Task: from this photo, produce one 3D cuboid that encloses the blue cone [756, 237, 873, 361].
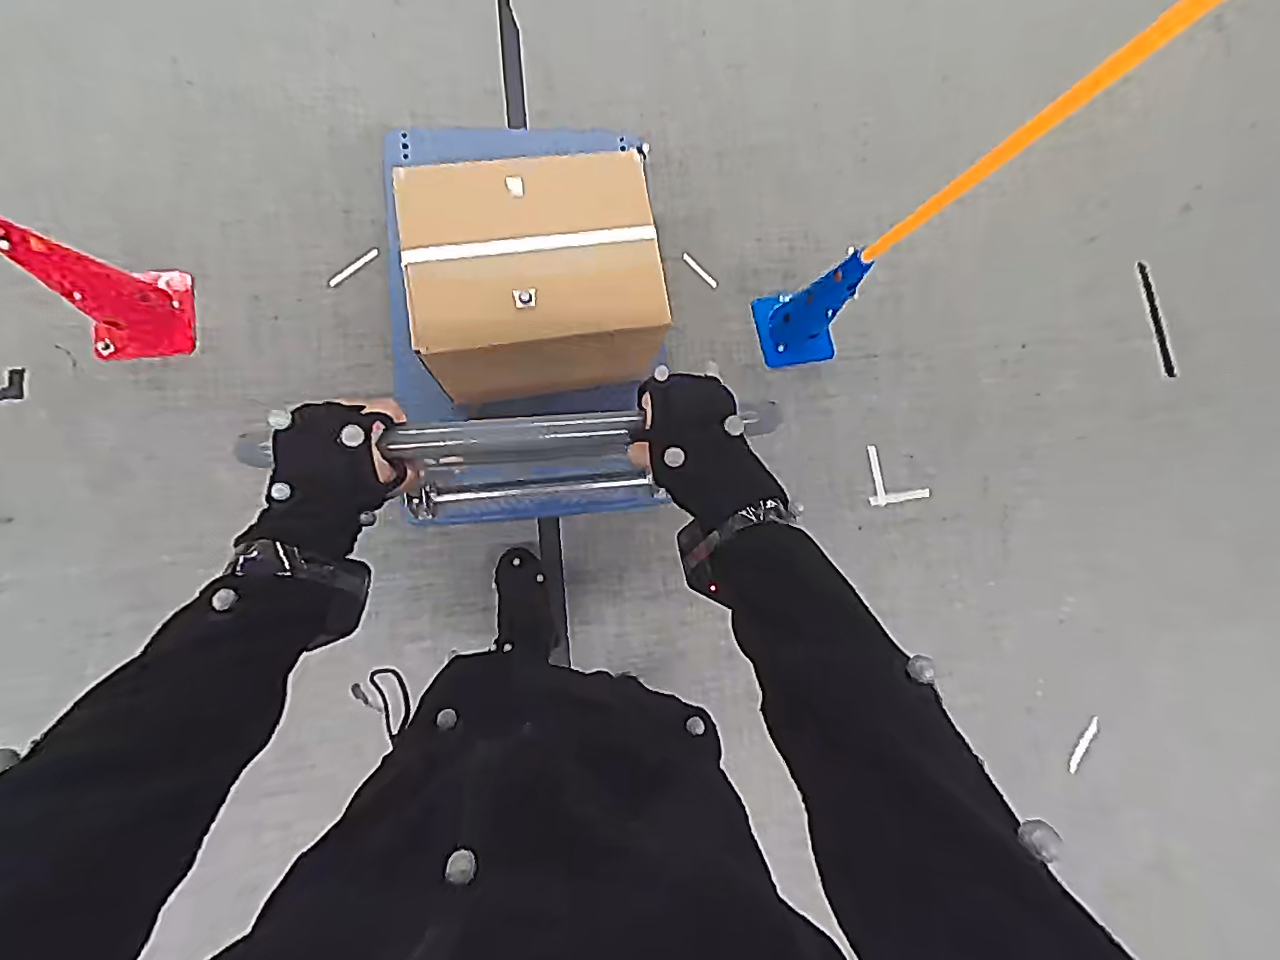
[{"bbox_3d":[0.435,-0.438,1.276,0.193,0.380,0.192,-10,83,-10],"label":"blue cone"}]
